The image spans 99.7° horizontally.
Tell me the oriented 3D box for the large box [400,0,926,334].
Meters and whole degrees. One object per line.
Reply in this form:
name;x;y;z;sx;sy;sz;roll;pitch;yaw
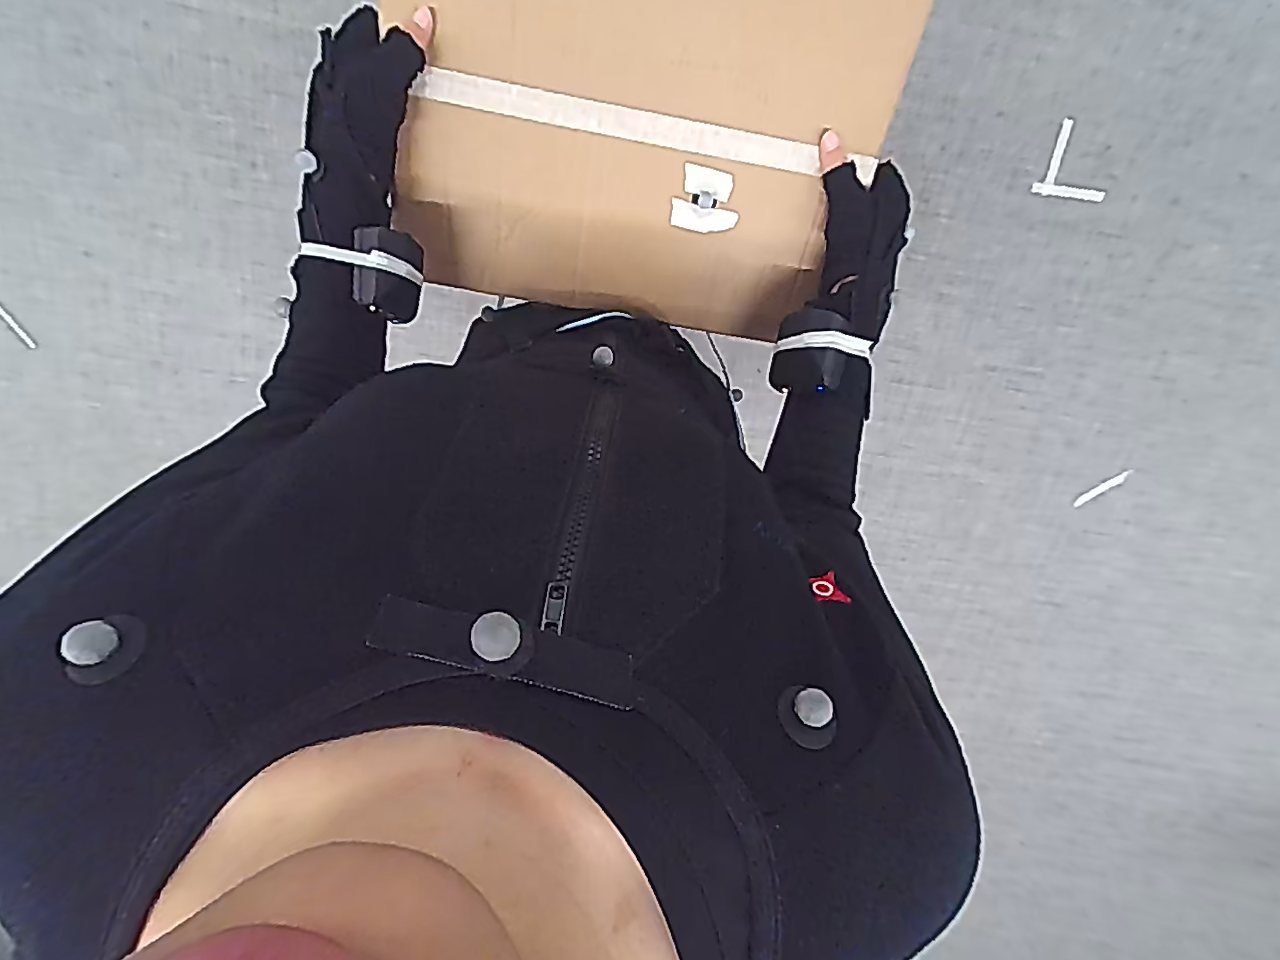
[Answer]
large box;0.002;-0.379;0.578;0.408;0.320;0.320;9;122;-6
